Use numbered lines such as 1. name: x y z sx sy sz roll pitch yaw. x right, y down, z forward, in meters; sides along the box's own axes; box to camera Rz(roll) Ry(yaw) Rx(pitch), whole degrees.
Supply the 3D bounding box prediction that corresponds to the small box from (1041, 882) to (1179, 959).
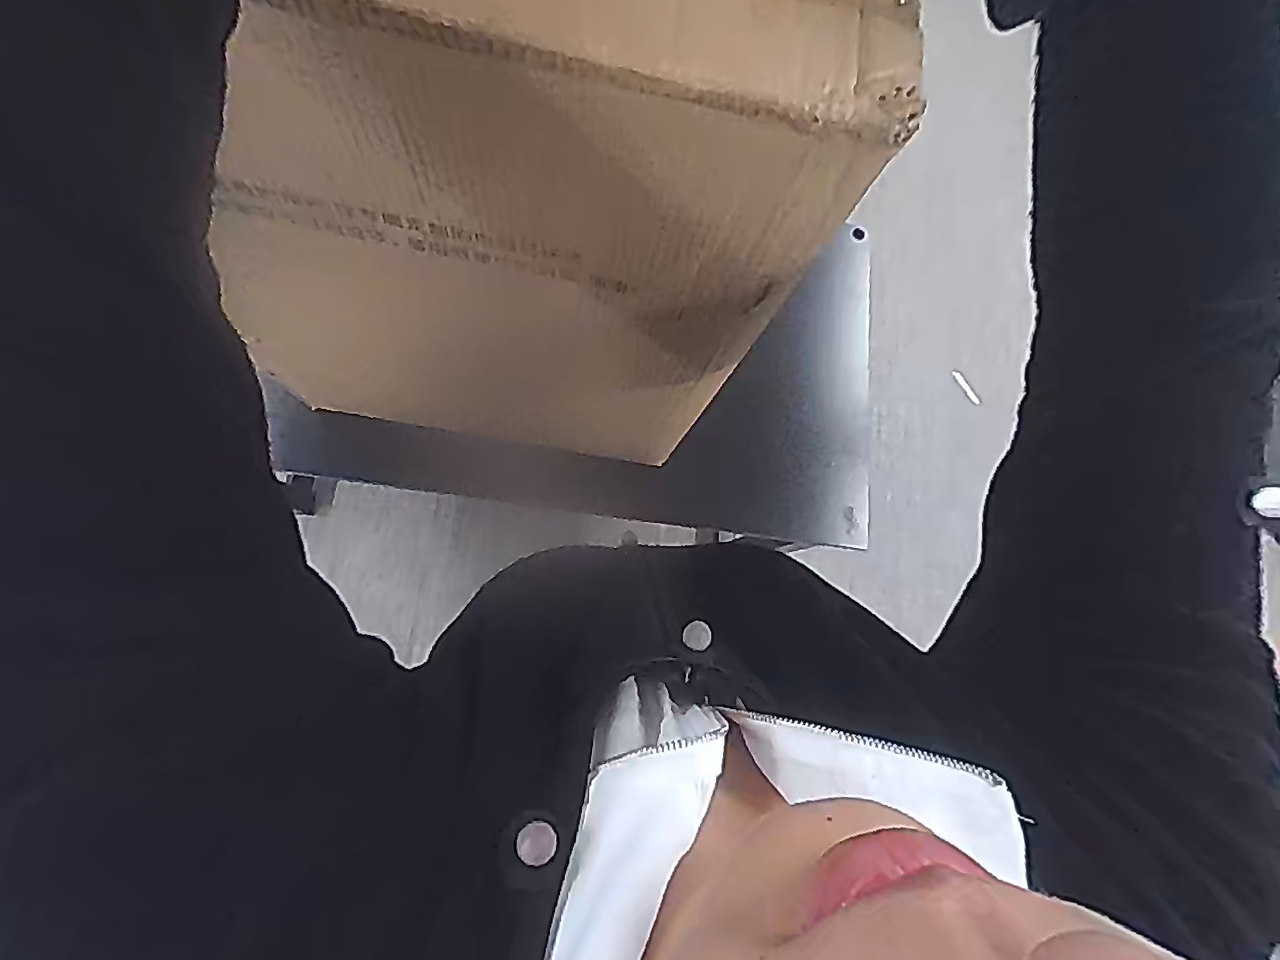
1. small box: 1.027 1.022 1.190 0.179 0.176 0.168 1 77 -8
